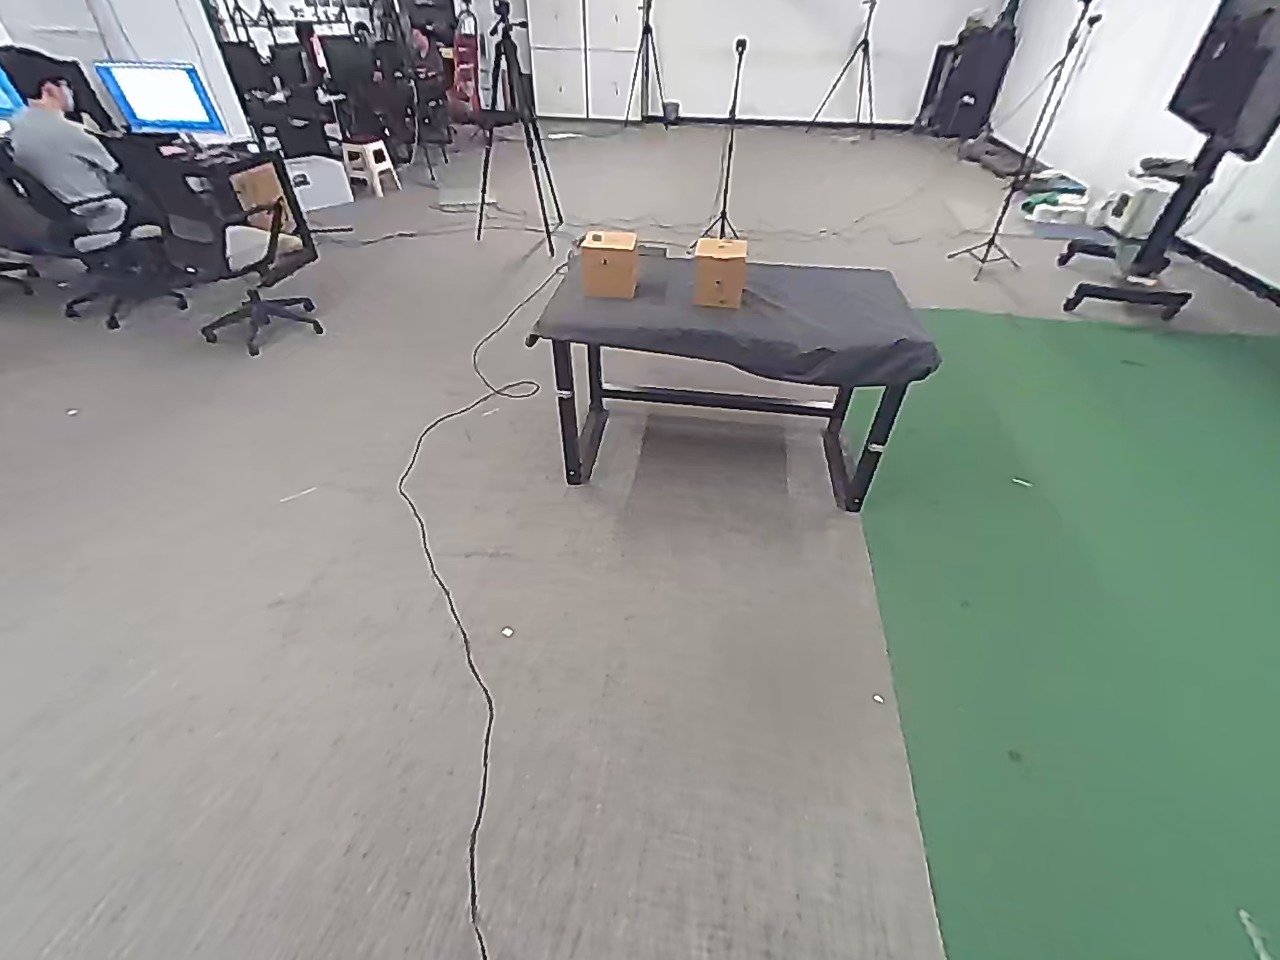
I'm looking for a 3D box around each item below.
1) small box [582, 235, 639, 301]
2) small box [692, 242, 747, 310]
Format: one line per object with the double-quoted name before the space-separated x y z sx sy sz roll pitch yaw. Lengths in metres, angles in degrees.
"small box" -0.097 -0.733 1.869 0.179 0.176 0.168 5 41 3
"small box" 0.268 -0.689 1.826 0.168 0.176 0.179 7 42 7
